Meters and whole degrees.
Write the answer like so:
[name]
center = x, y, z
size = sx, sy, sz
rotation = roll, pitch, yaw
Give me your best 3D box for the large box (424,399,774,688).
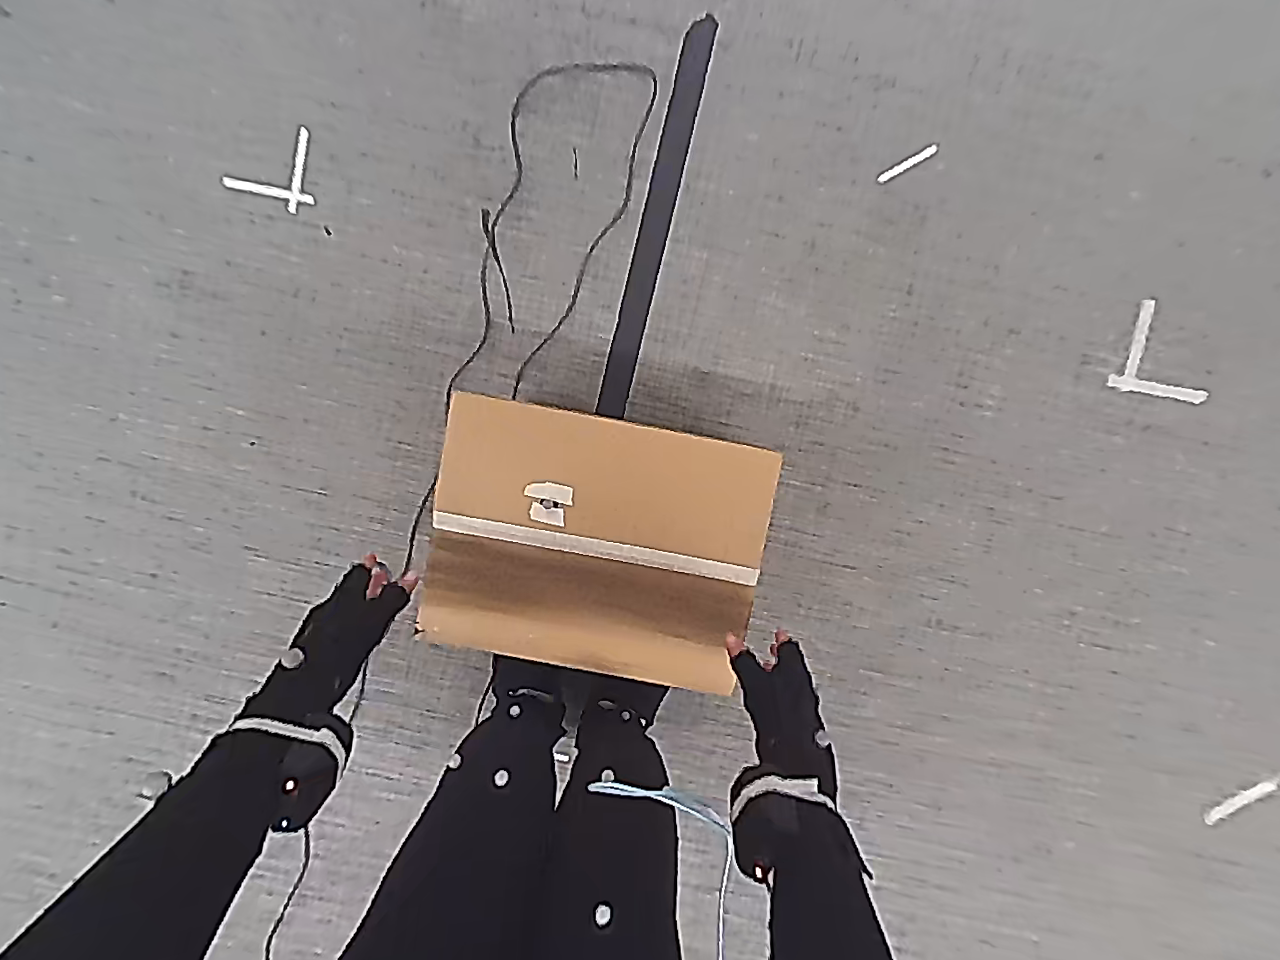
[large box]
center = -0.051, 0.070, 0.822
size = 0.408, 0.320, 0.320
rotation = 11, 95, 0
